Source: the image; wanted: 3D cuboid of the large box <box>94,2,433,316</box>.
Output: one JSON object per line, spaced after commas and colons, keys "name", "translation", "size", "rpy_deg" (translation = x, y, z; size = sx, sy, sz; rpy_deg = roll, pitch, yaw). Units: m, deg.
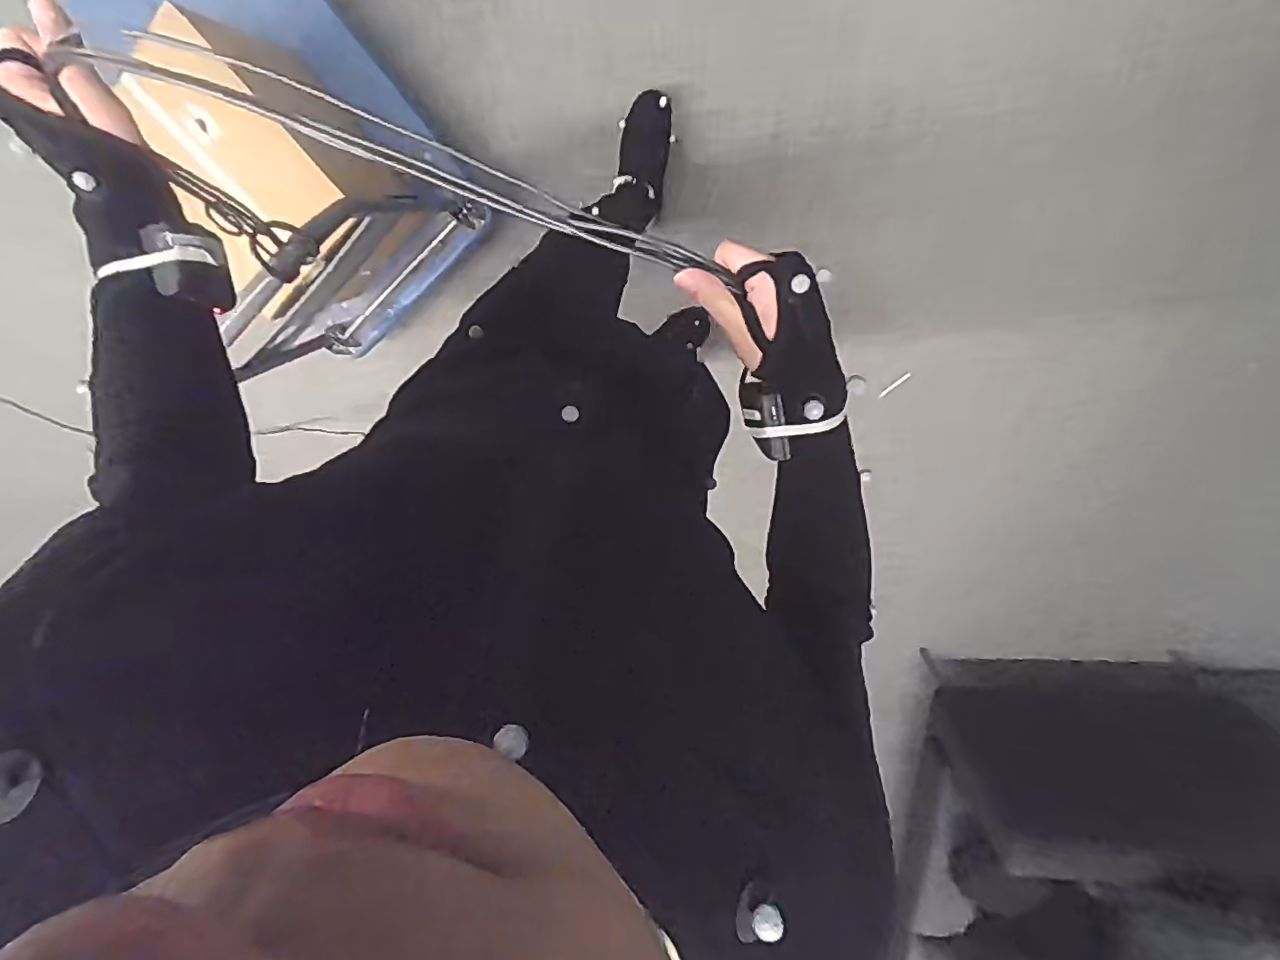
{"name": "large box", "translation": [-0.723, -0.611, 1.104], "size": [0.320, 0.320, 0.408], "rpy_deg": [-34, 108, 19]}
